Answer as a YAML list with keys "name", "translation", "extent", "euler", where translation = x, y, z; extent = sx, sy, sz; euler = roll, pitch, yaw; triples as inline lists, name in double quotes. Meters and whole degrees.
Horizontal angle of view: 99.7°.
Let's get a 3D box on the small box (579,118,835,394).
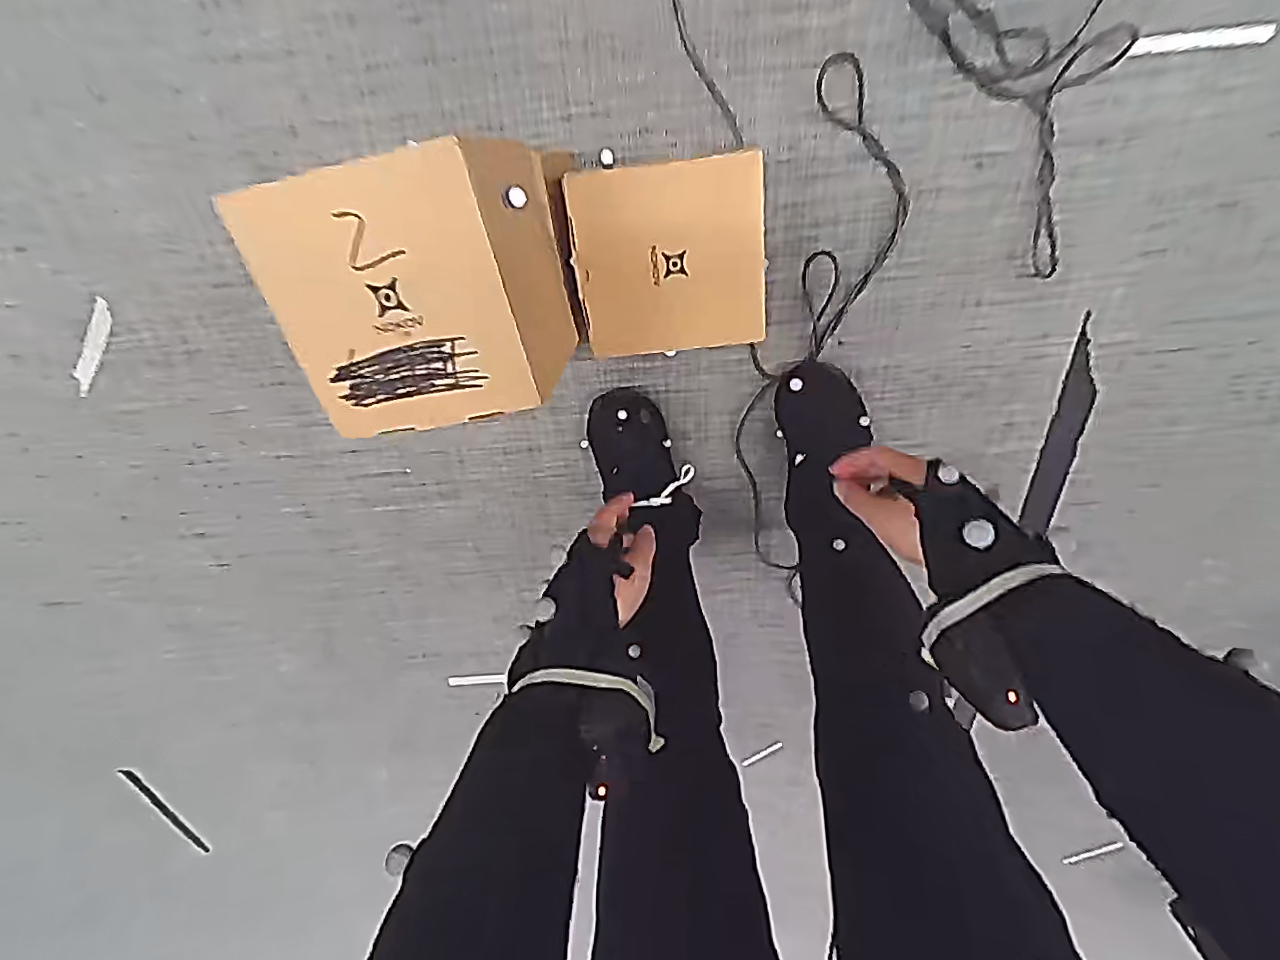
- name: "small box"
  translation: [0.044, -0.198, 0.505]
  extent: [0.168, 0.176, 0.179]
  euler: [9, 132, -19]
